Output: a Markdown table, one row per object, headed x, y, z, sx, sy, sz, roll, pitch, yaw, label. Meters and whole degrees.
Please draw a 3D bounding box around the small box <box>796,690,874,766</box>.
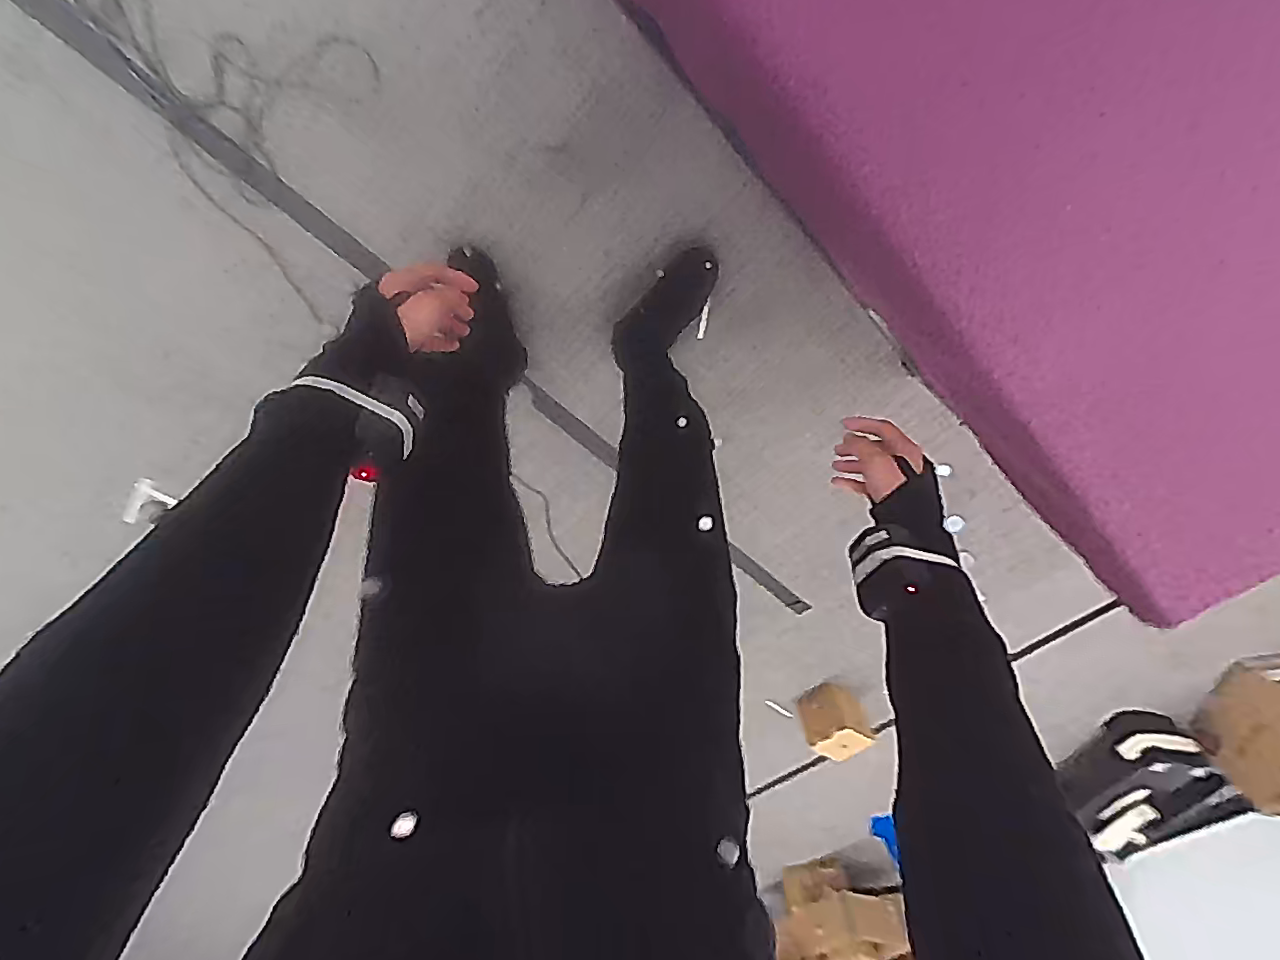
| x | y | z | sx | sy | sz | roll | pitch | yaw | label |
| --- | --- | --- | --- | --- | --- | --- | --- | --- | --- |
| 0.692 | 0.884 | 1.931 | 0.179 | 0.176 | 0.168 | 35 | 116 | -23 | small box |
